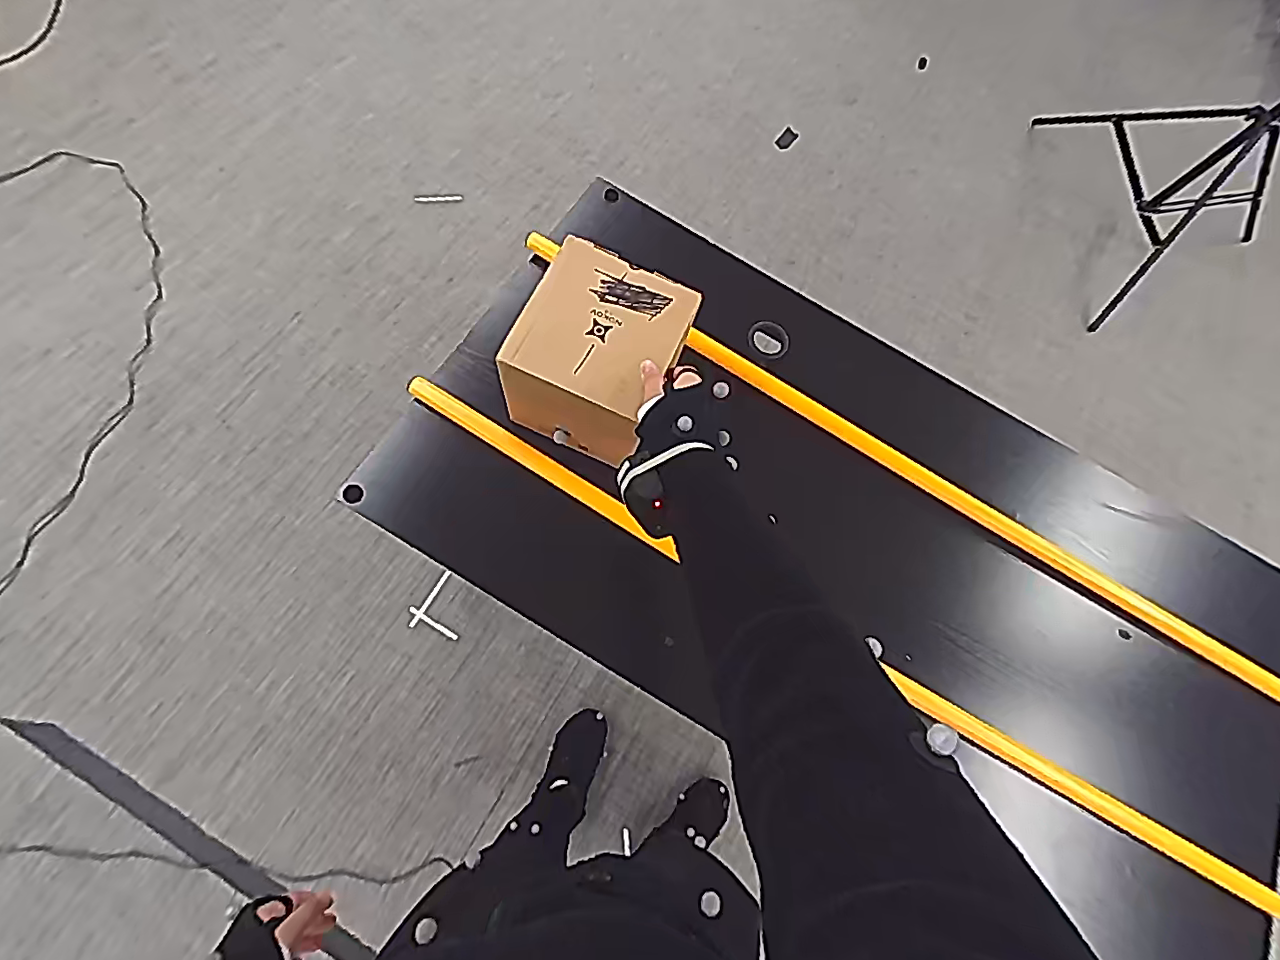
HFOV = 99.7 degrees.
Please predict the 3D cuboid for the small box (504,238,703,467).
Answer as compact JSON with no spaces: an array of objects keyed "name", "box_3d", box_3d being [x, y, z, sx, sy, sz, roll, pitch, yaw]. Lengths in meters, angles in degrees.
[{"name":"small box","box_3d":[-0.046,-0.142,0.655,0.168,0.176,0.179,24,73,1]}]
